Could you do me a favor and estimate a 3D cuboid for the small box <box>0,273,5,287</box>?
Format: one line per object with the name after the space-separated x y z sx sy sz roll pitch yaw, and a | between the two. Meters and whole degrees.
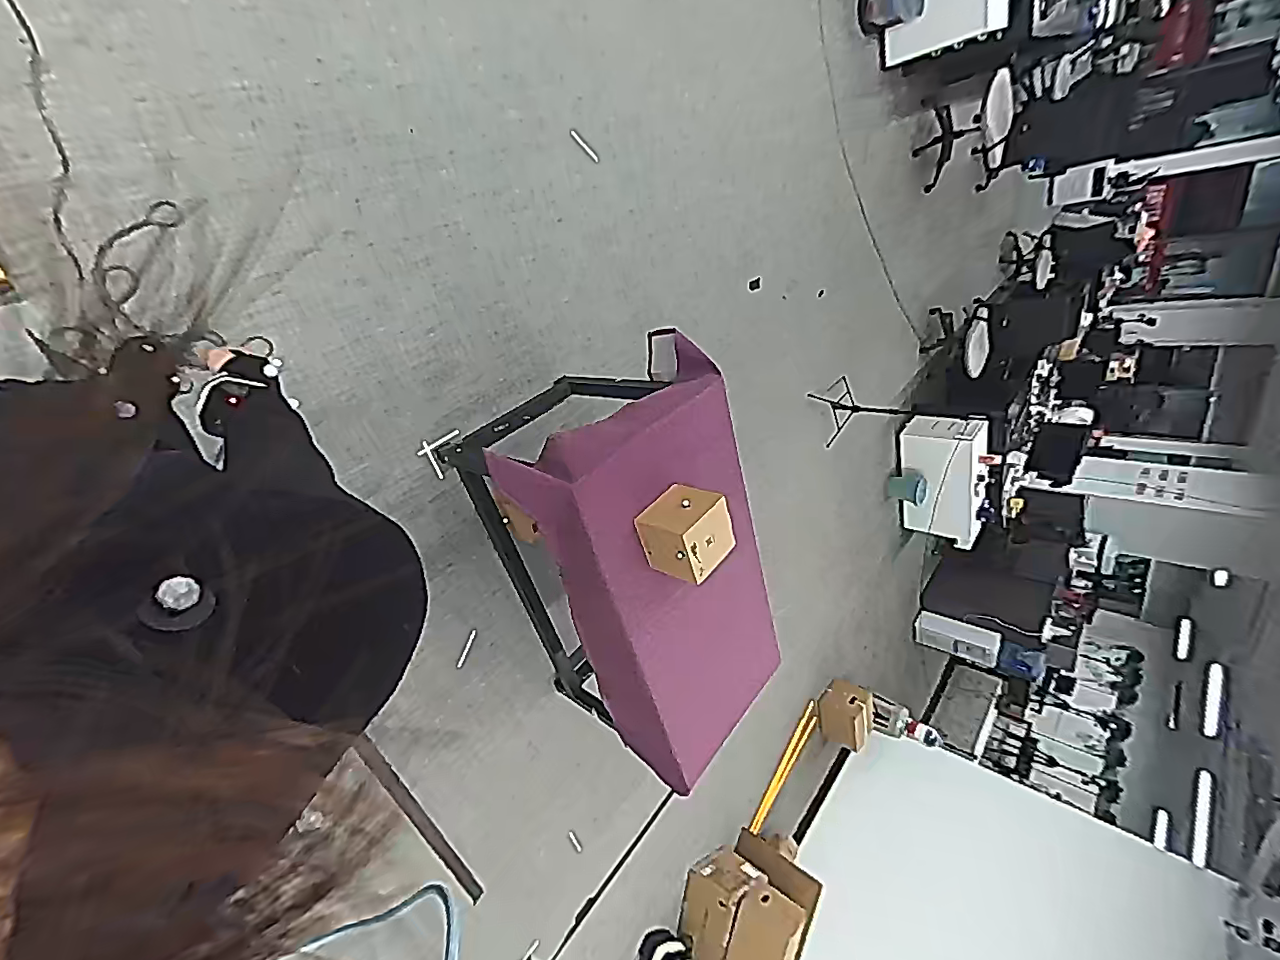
-1.252 -0.402 0.917 0.168 0.176 0.179 -37 124 -34 | small box

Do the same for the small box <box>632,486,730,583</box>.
0.109 0.133 1.411 0.179 0.176 0.168 -40 126 -34 | small box
